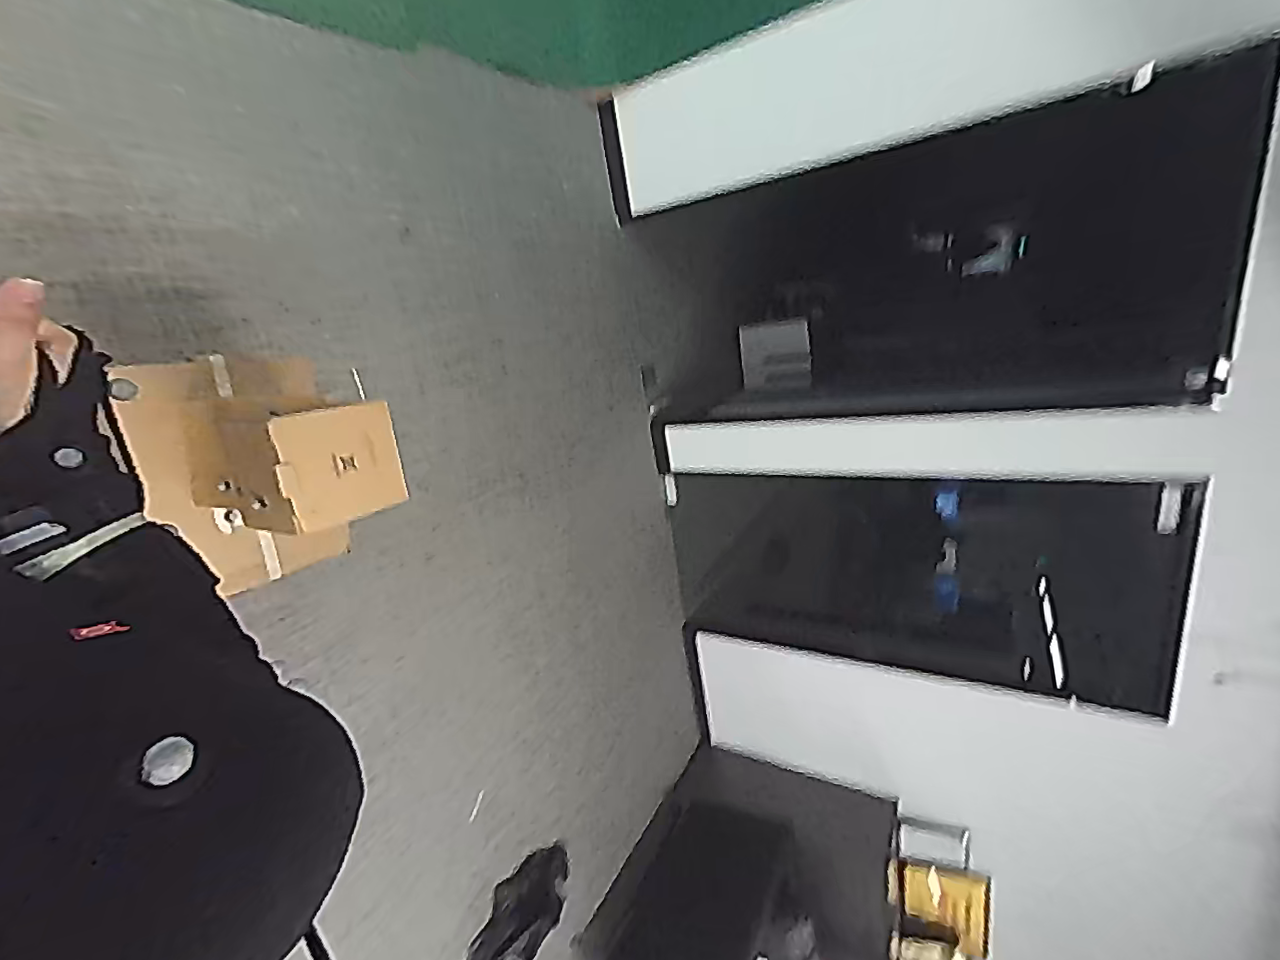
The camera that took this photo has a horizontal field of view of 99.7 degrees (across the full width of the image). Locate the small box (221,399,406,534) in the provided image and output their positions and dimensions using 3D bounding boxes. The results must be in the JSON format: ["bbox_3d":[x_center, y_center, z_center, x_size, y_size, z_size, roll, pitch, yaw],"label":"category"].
[{"bbox_3d":[-0.500,-0.028,0.827,0.179,0.176,0.168,-30,119,-56],"label":"small box"}]

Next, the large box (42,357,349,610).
[{"bbox_3d":[-0.839,-0.018,1.049,0.320,0.320,0.408,-24,114,-55],"label":"large box"}]

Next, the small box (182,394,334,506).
[{"bbox_3d":[-0.635,-0.053,0.915,0.168,0.176,0.179,-15,105,-58],"label":"small box"}]
